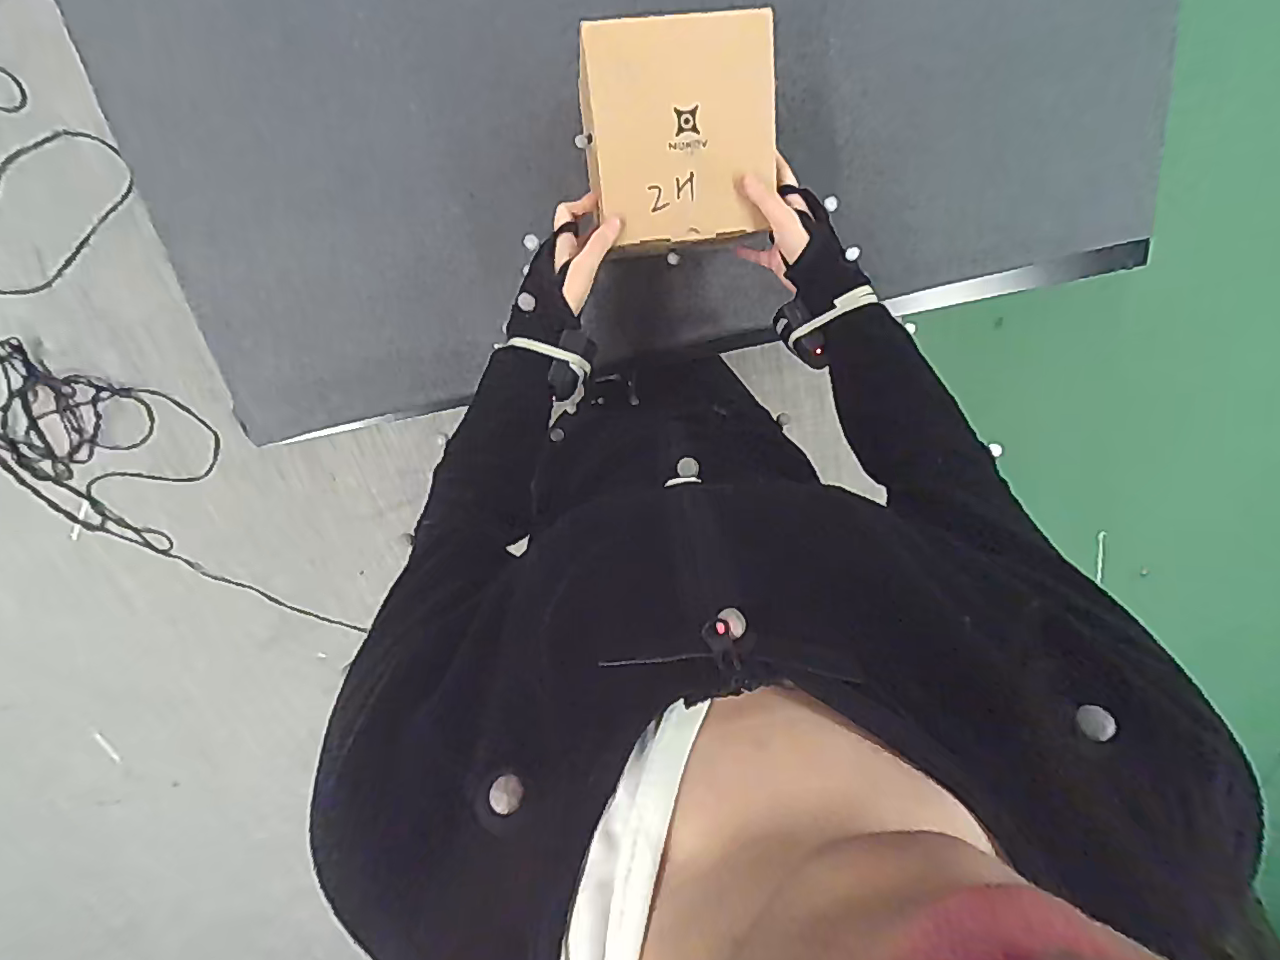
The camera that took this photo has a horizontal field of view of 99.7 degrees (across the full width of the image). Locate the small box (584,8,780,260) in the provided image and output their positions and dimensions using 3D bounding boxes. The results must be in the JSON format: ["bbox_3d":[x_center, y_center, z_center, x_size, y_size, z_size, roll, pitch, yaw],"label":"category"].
[{"bbox_3d":[0.034,-0.334,0.555,0.168,0.176,0.179,-8,108,-4],"label":"small box"}]
